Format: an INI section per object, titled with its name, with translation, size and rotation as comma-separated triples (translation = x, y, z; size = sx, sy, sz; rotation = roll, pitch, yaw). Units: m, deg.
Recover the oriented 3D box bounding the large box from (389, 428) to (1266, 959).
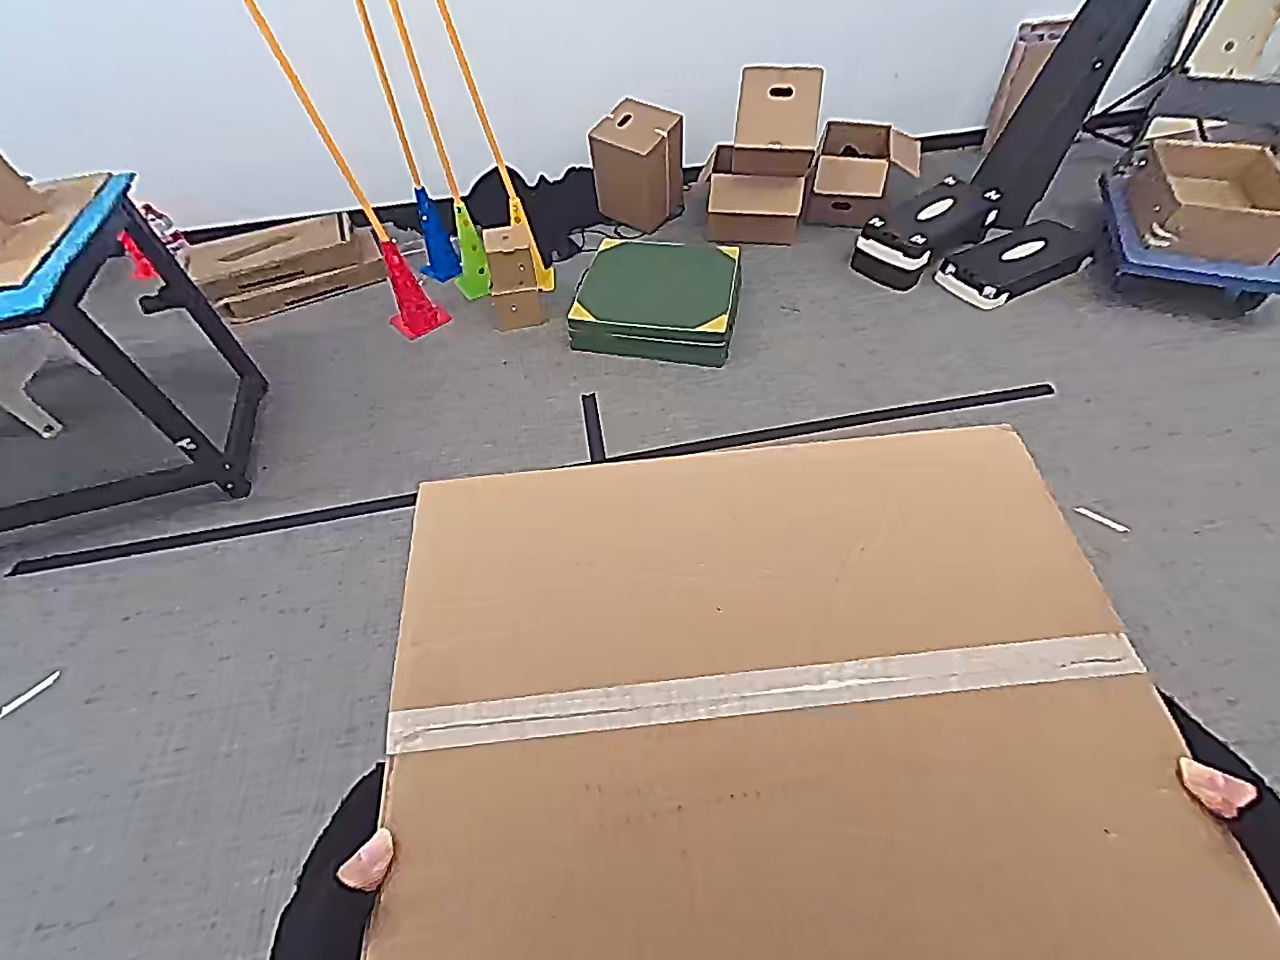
[large box]
translation = 0.073, 0.191, 0.436
size = 0.408, 0.320, 0.320
rotation = -6, 61, 0
